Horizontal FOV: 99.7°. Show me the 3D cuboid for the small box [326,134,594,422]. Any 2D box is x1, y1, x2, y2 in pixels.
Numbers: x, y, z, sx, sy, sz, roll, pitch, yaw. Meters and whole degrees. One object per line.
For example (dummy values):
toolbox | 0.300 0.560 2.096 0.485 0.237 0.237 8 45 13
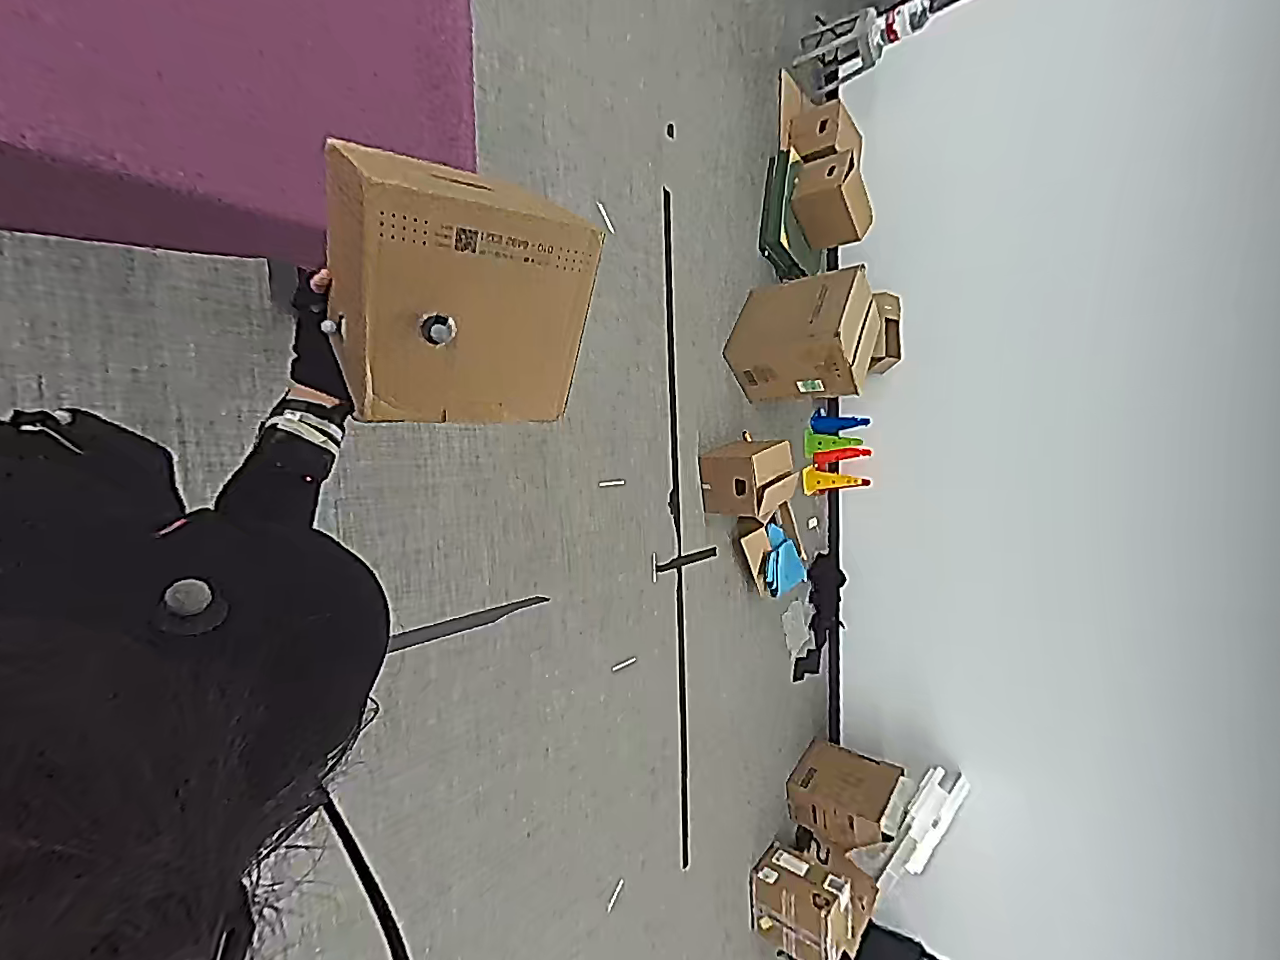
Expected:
small box | -0.153 -0.162 0.446 0.168 0.179 0.176 -4 127 -37
